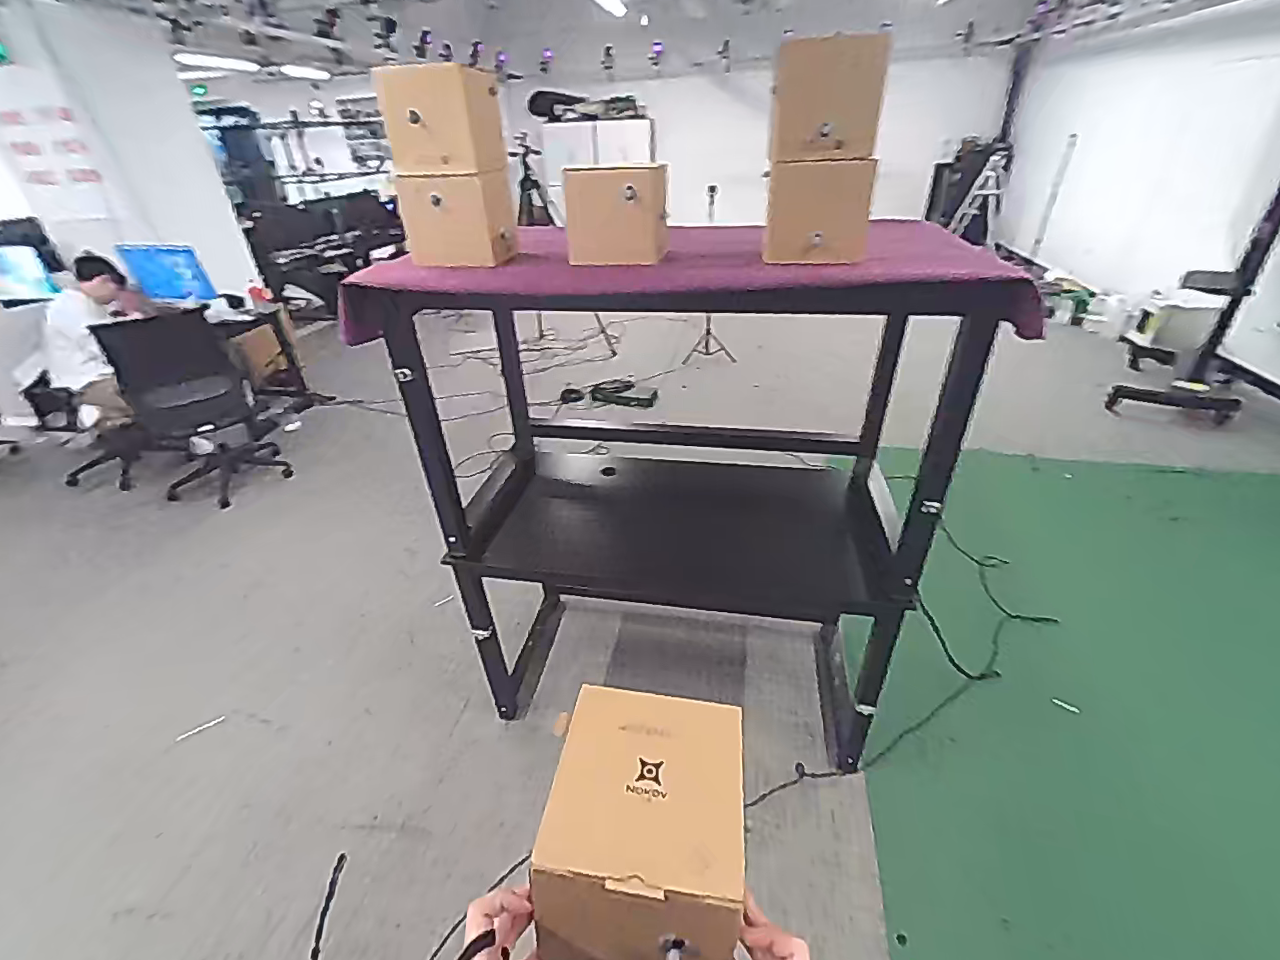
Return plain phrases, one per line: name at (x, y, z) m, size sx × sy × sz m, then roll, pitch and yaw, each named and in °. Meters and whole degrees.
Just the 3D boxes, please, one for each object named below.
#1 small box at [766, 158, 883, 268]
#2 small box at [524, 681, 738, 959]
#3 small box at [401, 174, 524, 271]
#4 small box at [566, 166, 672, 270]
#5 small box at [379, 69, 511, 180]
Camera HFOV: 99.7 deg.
small box at (0.334, -0.501, 1.013) m, size 0.179 × 0.176 × 0.168 m, roll 4°, pitch 31°, yaw 10°
small box at (0.002, 0.327, 0.516) m, size 0.168 × 0.176 × 0.179 m, roll 6°, pitch 29°, yaw 7°
small box at (-0.360, -0.539, 1.132) m, size 0.179 × 0.176 × 0.168 m, roll 3°, pitch 33°, yaw 7°
small box at (-0.033, -0.525, 1.082) m, size 0.179 × 0.176 × 0.168 m, roll 4°, pitch 32°, yaw 11°
small box at (-0.364, -0.680, 1.051) m, size 0.168 × 0.176 × 0.179 m, roll 2°, pitch 32°, yaw 8°
